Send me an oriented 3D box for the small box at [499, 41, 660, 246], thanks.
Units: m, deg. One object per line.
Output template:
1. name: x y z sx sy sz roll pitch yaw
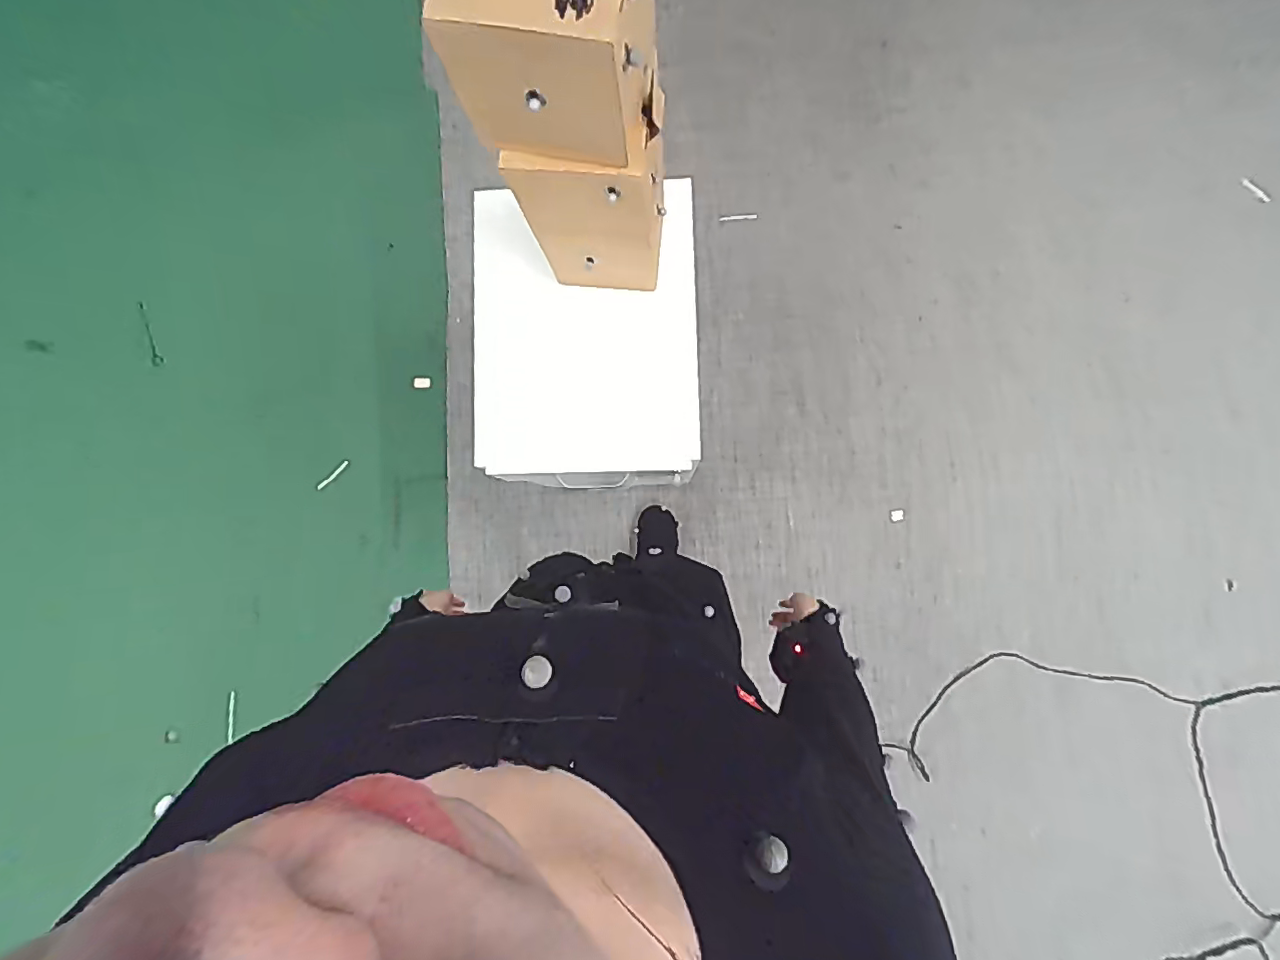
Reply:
1. small box: -0.069 -0.432 0.717 0.179 0.176 0.168 5 86 3

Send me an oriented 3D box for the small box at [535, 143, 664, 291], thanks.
1. small box: -0.057 -0.422 0.879 0.179 0.176 0.168 6 86 4
